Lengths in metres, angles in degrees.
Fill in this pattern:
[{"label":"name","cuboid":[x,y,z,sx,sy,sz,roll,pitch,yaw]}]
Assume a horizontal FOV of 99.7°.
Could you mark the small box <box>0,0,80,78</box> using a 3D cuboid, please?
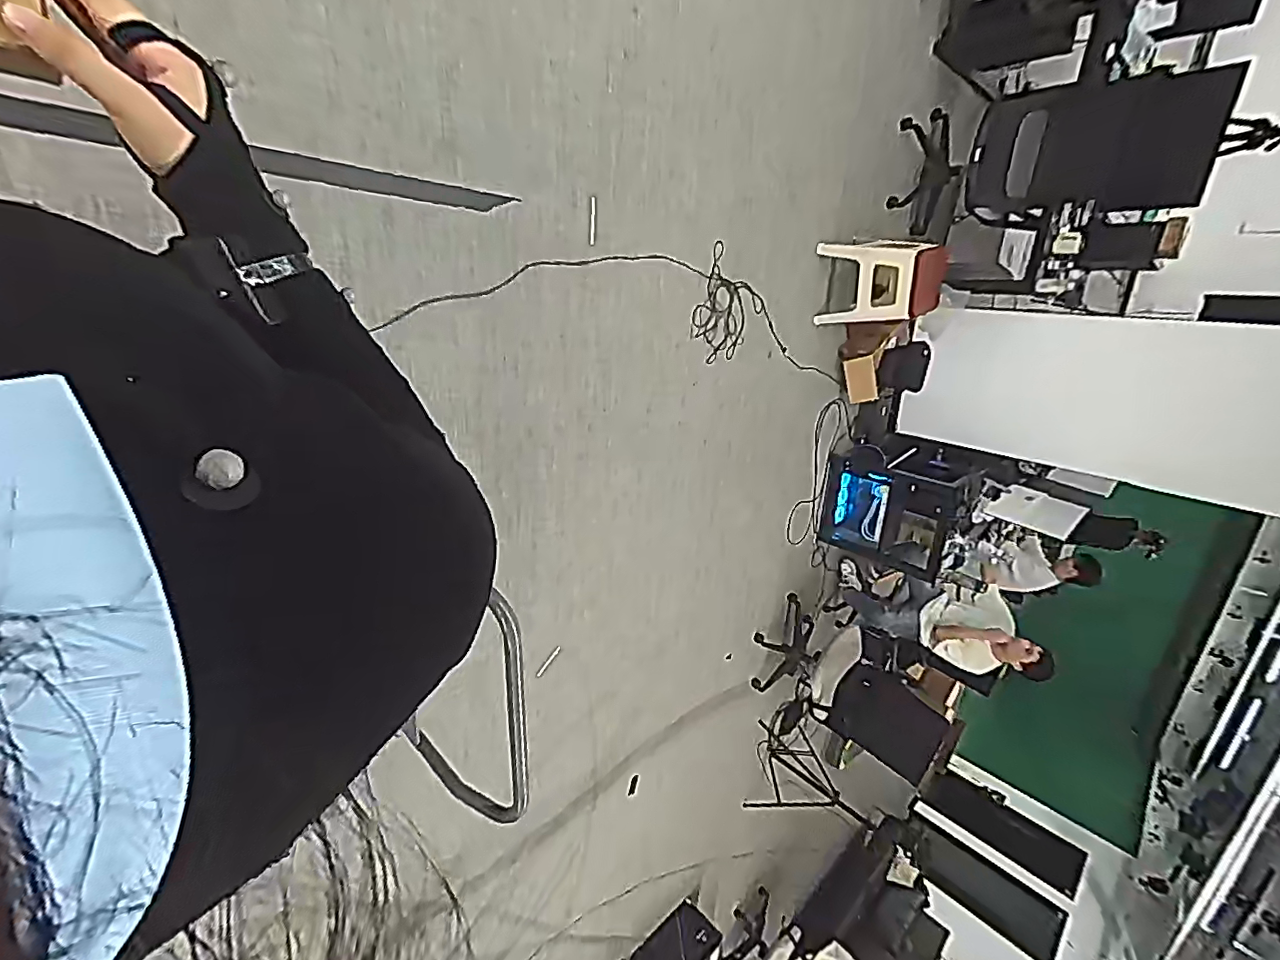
[{"label":"small box","cuboid":[-0.421,-0.341,0.275,0.168,0.176,0.179,-12,120,-41]}]
